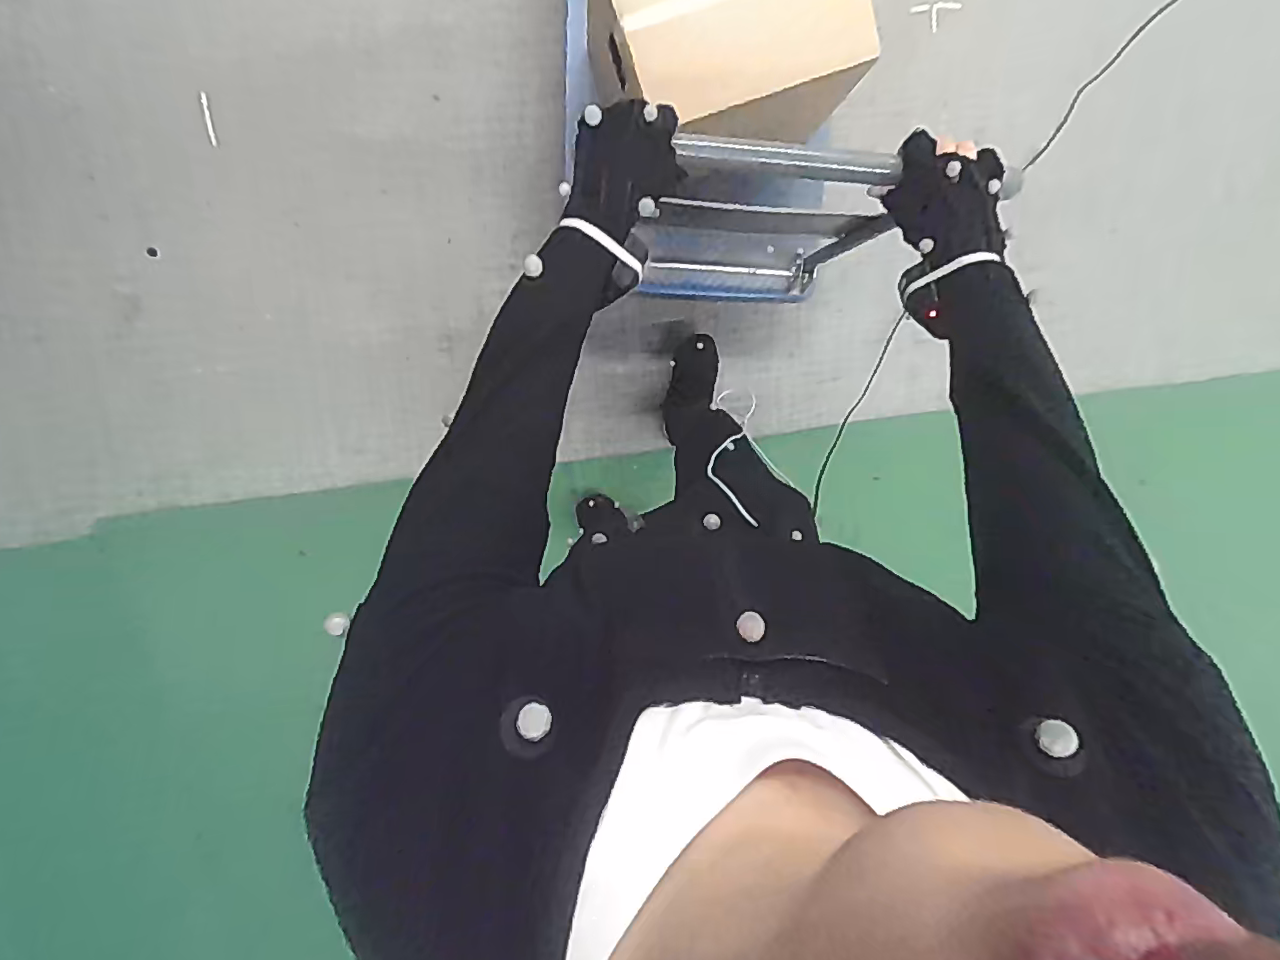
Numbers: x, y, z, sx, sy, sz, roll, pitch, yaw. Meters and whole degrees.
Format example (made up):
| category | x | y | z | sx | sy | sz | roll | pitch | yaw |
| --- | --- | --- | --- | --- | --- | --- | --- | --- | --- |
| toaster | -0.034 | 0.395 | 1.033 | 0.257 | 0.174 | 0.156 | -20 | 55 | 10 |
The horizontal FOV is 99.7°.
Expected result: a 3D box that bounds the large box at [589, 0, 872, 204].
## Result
| category | x | y | z | sx | sy | sz | roll | pitch | yaw |
| --- | --- | --- | --- | --- | --- | --- | --- | --- | --- |
| large box | 0.144 | -0.785 | 1.017 | 0.408 | 0.320 | 0.320 | -20 | 99 | -1 |
